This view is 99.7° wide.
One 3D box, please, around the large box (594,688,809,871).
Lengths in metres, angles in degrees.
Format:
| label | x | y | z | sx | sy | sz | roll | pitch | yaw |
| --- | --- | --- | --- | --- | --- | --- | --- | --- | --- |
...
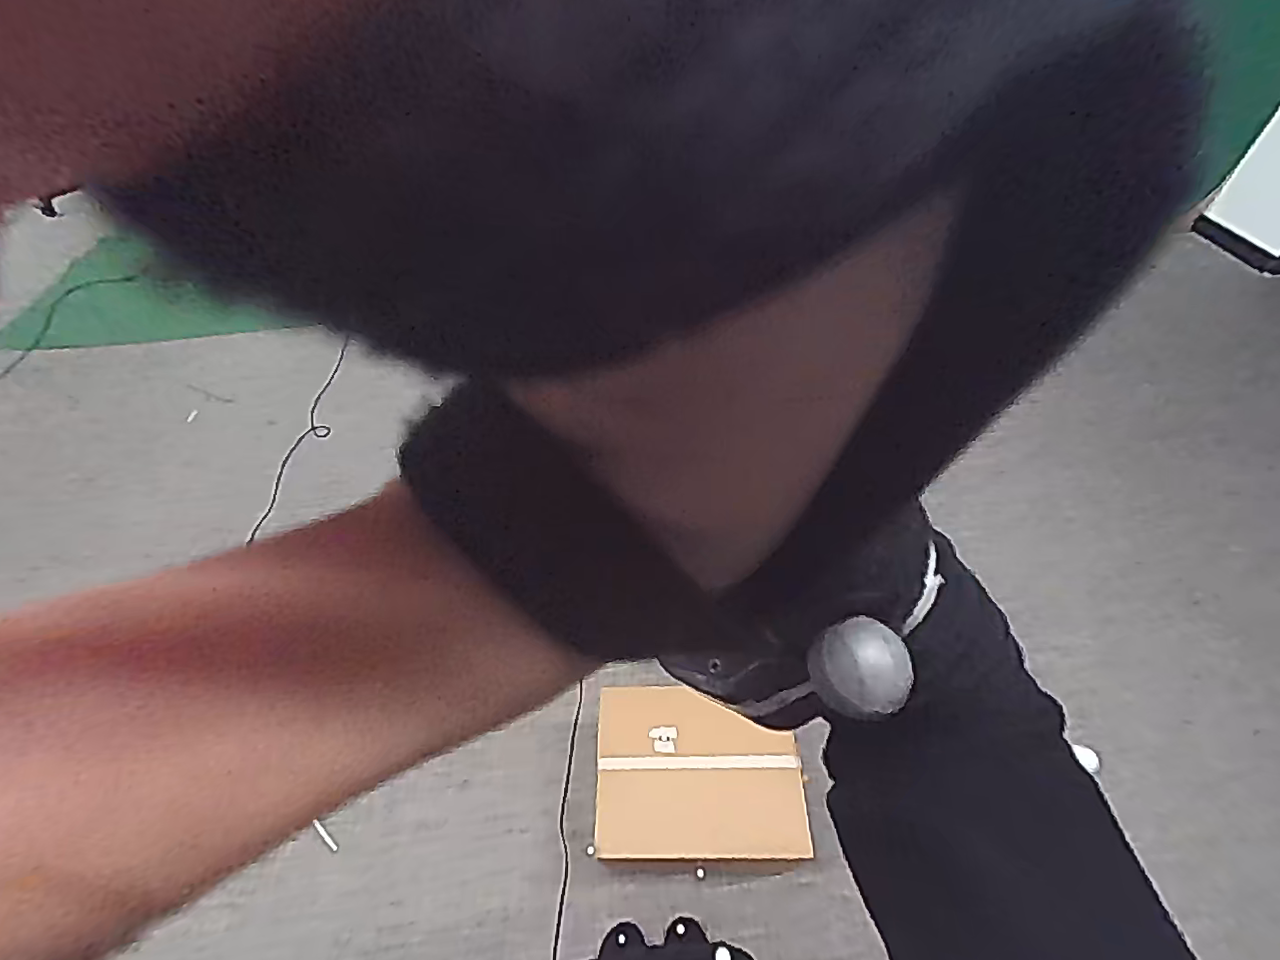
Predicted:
| label | x | y | z | sx | sy | sz | roll | pitch | yaw |
| --- | --- | --- | --- | --- | --- | --- | --- | --- | --- |
| large box | 0.123 | 0.672 | 1.202 | 0.408 | 0.320 | 0.320 | -2 | 50 | 3 |
